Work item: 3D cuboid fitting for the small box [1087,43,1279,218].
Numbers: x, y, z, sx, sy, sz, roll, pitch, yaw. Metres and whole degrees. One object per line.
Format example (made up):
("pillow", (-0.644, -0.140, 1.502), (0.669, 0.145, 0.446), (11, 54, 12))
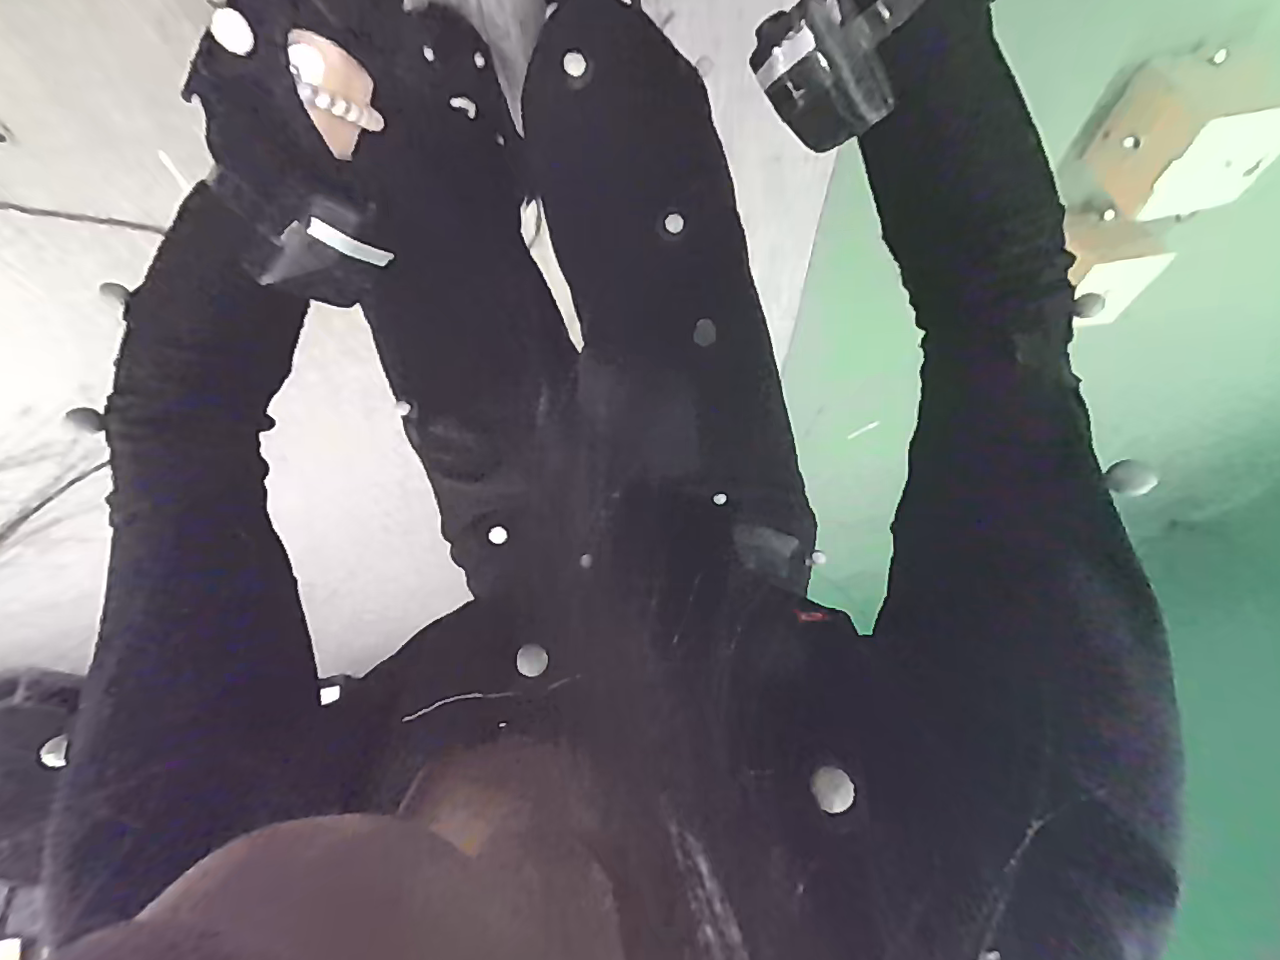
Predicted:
("small box", (0.889, -0.562, 0.874), (0.179, 0.176, 0.168), (-9, 153, 1))

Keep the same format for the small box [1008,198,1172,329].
("small box", (0.904, -0.442, 1.112), (0.168, 0.176, 0.179), (-9, 153, -3))
